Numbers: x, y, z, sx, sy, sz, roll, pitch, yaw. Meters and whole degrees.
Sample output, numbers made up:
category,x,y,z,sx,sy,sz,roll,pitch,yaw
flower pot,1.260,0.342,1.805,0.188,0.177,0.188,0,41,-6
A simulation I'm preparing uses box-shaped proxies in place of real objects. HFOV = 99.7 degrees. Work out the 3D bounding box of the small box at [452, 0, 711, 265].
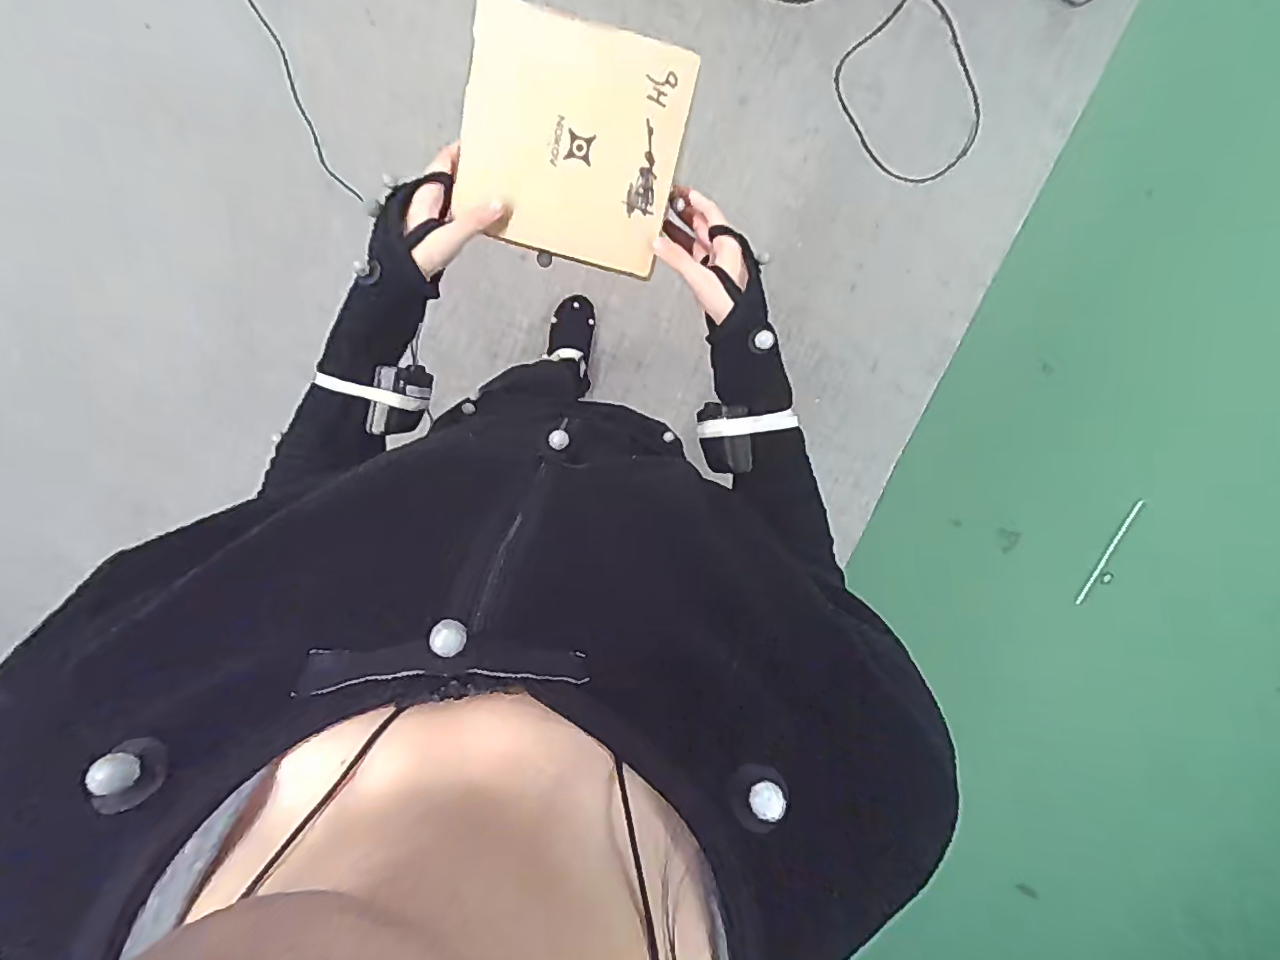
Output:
category,x,y,z,sx,sy,sz,roll,pitch,yaw
small box,-0.048,-0.306,0.500,0.179,0.176,0.168,15,109,-3

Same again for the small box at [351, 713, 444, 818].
category,x,y,z,sx,sy,sz,roll,pitch,yaw
small box,-0.694,0.823,1.572,0.168,0.176,0.179,30,99,-11
